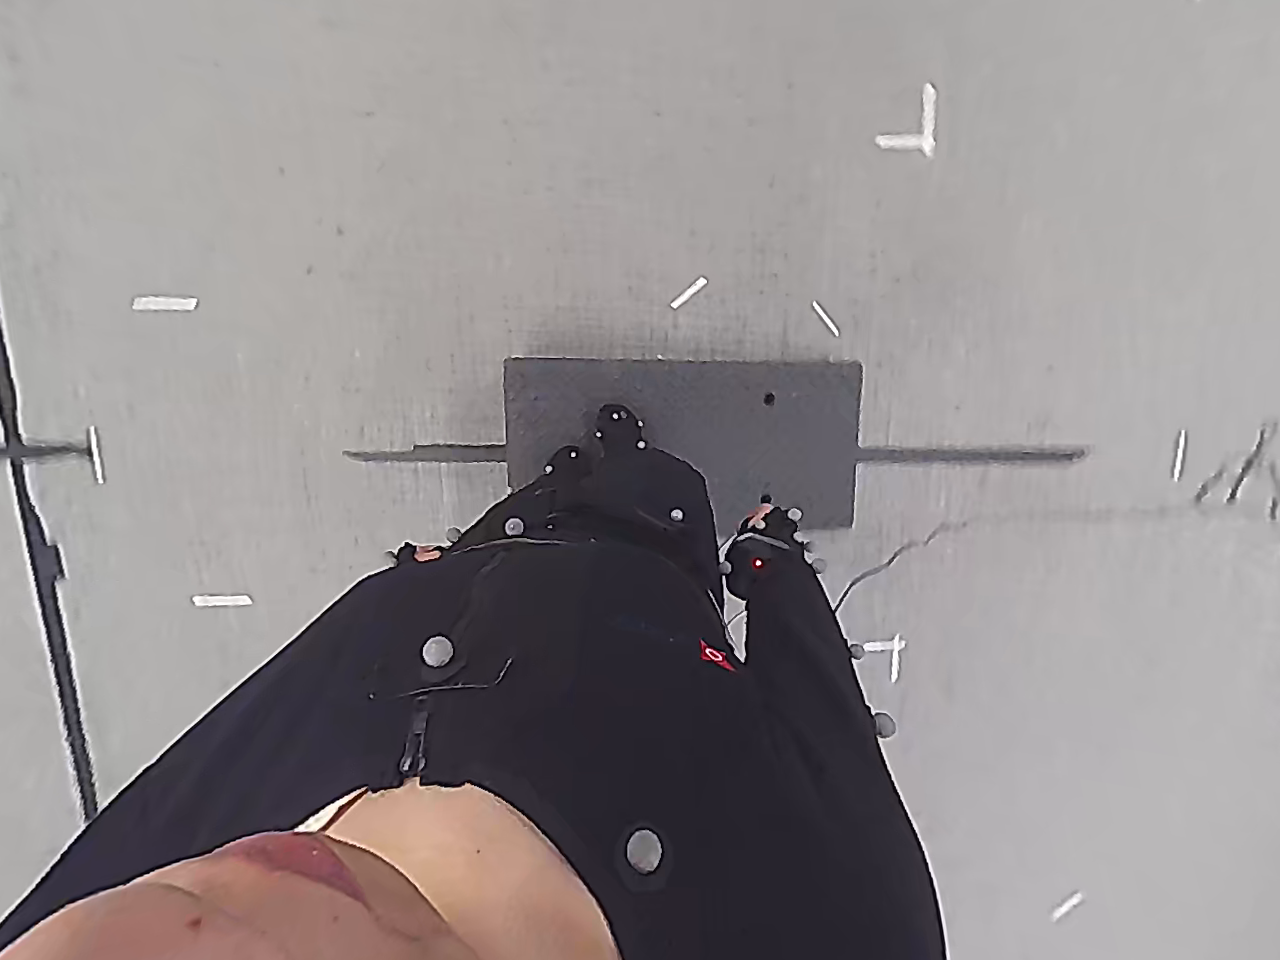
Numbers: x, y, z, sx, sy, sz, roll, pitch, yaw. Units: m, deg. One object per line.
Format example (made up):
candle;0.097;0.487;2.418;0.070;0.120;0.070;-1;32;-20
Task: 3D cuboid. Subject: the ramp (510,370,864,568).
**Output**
ramp;0.171;-0.048;1.461;0.991;0.206;0.509;-4;97;-4
